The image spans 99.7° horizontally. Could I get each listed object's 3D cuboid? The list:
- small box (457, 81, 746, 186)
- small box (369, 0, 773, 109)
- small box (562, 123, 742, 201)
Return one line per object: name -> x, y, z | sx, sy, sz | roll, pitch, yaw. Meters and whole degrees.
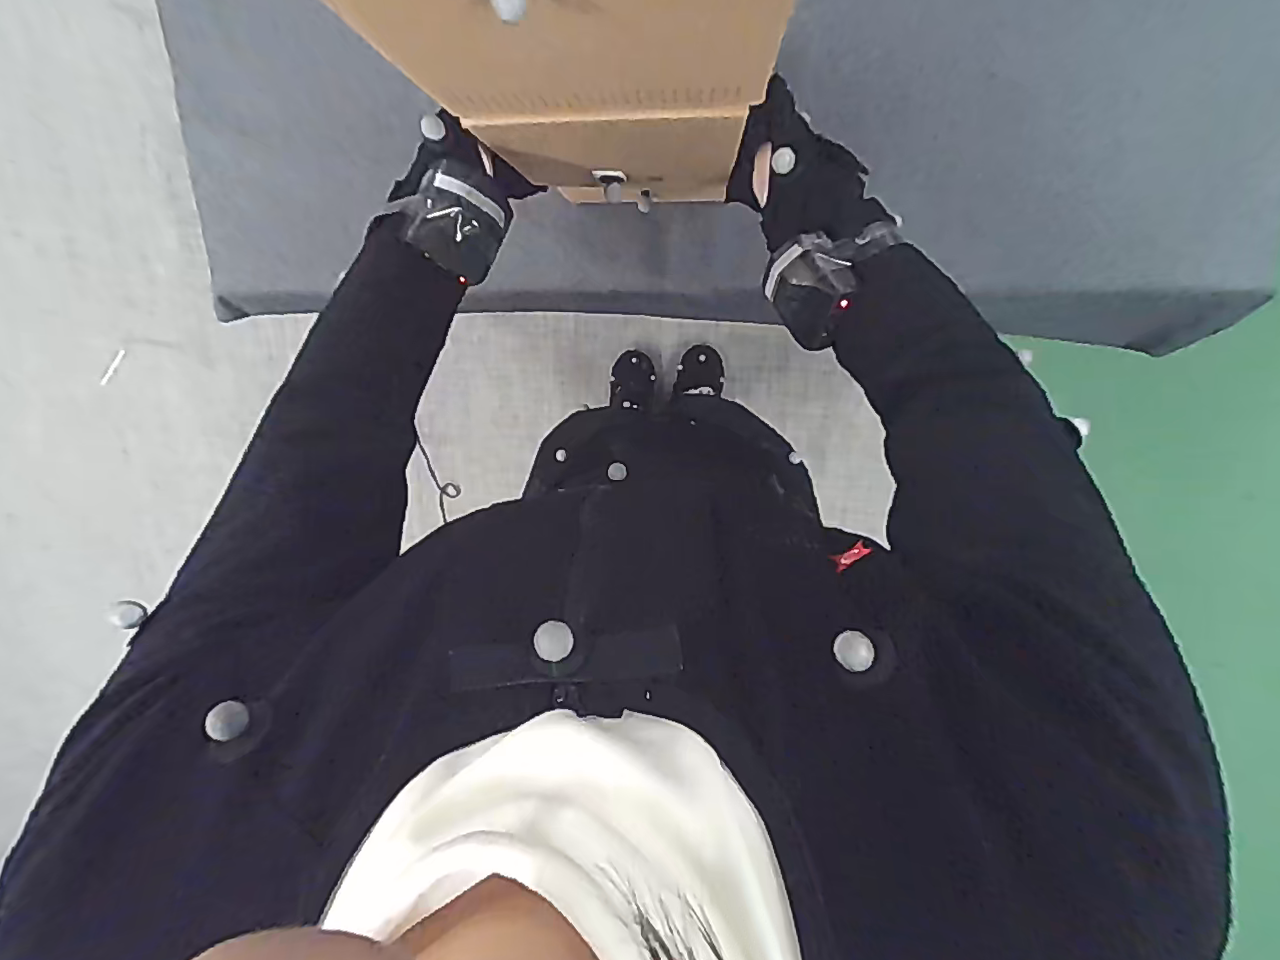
small box -> -0.015, -0.312, 0.358 | 0.168, 0.176, 0.179 | 2, 107, 5
small box -> -0.029, -0.270, 0.217 | 0.179, 0.176, 0.168 | 2, 107, 5
small box -> 0.002, -0.372, 0.509 | 0.179, 0.176, 0.168 | 1, 105, 5
